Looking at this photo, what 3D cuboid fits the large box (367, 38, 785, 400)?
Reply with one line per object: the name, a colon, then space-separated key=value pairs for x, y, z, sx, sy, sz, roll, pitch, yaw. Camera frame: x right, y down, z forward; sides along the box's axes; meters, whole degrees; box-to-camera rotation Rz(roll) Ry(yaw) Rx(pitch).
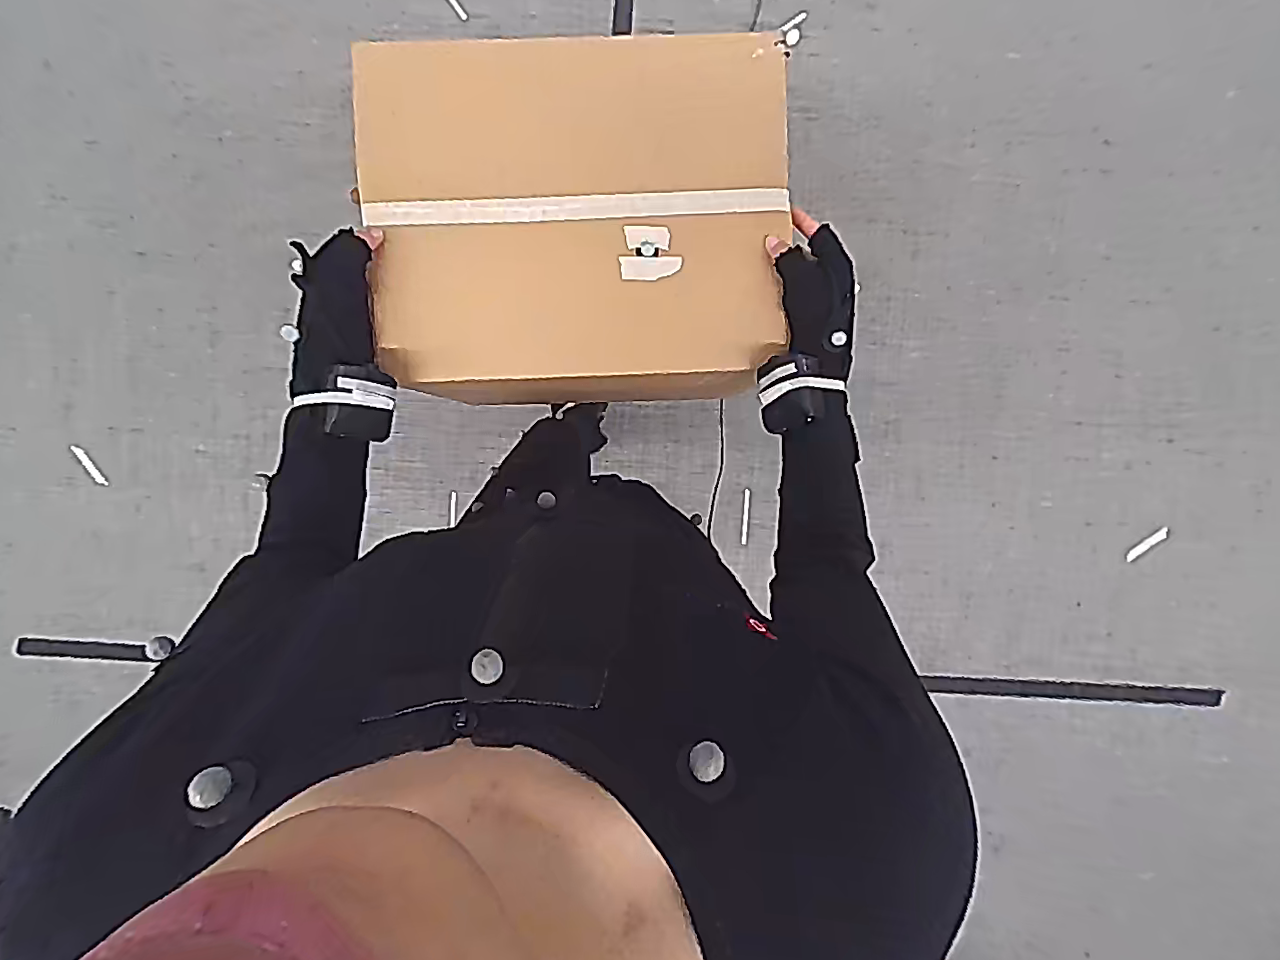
large box: x=-0.064 y=-0.279 z=0.683 sx=0.408 sy=0.320 sz=0.320 roll=-3 pitch=94 yaw=-1
